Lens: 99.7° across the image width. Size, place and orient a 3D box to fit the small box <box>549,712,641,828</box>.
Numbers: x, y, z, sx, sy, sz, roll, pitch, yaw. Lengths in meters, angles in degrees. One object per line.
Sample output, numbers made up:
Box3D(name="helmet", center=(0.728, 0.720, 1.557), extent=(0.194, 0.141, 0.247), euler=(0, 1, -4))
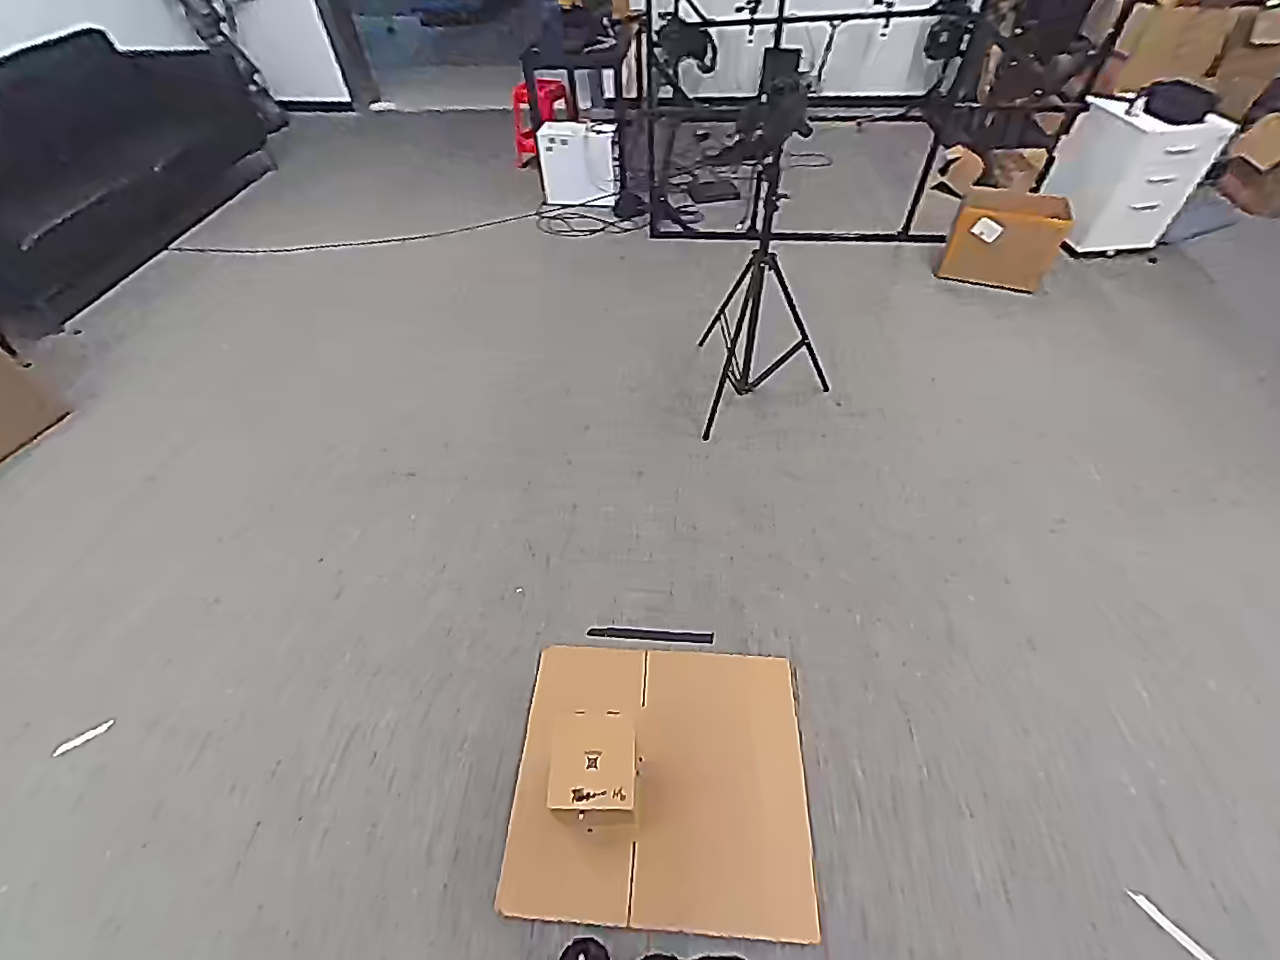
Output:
Box3D(name="small box", center=(-0.085, 0.596, 1.111), extent=(0.168, 0.176, 0.179), euler=(-1, 49, 2))

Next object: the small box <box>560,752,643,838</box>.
Box3D(name="small box", center=(-0.080, 0.705, 1.235), extent=(0.168, 0.176, 0.179), euler=(1, 50, 3))
